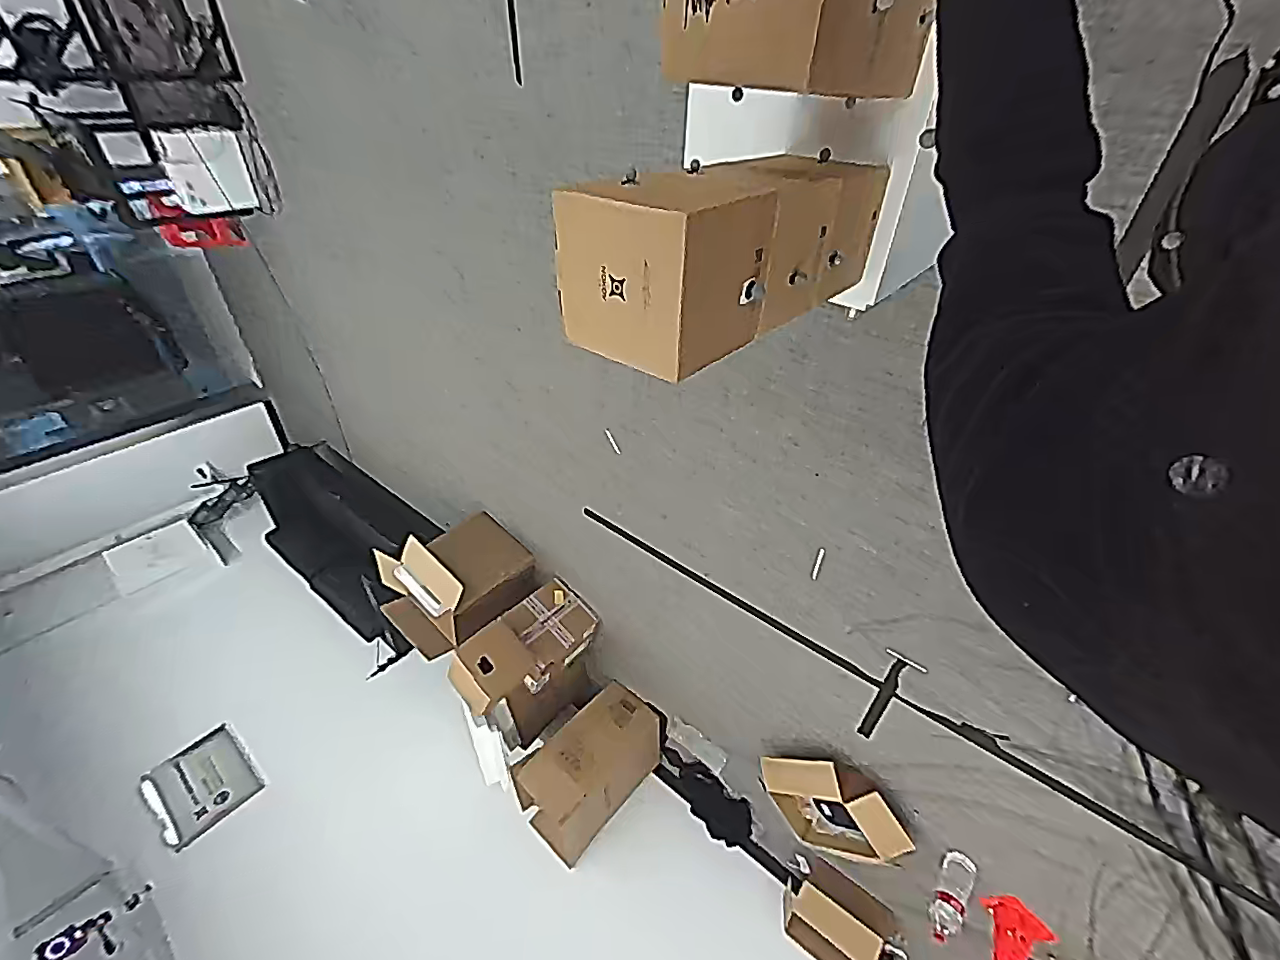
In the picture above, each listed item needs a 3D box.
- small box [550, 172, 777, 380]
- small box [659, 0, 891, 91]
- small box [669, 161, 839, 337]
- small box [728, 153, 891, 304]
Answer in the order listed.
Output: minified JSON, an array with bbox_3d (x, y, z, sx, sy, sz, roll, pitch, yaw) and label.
[{"bbox_3d":[0.025,-0.236,0.602,0.179,0.176,0.168,27,135,31],"label":"small box"},{"bbox_3d":[0.142,-0.500,0.545,0.179,0.176,0.168,29,135,28],"label":"small box"},{"bbox_3d":[0.132,-0.307,0.702,0.179,0.176,0.168,28,135,31],"label":"small box"},{"bbox_3d":[0.236,-0.381,0.804,0.179,0.176,0.168,29,135,31],"label":"small box"}]
